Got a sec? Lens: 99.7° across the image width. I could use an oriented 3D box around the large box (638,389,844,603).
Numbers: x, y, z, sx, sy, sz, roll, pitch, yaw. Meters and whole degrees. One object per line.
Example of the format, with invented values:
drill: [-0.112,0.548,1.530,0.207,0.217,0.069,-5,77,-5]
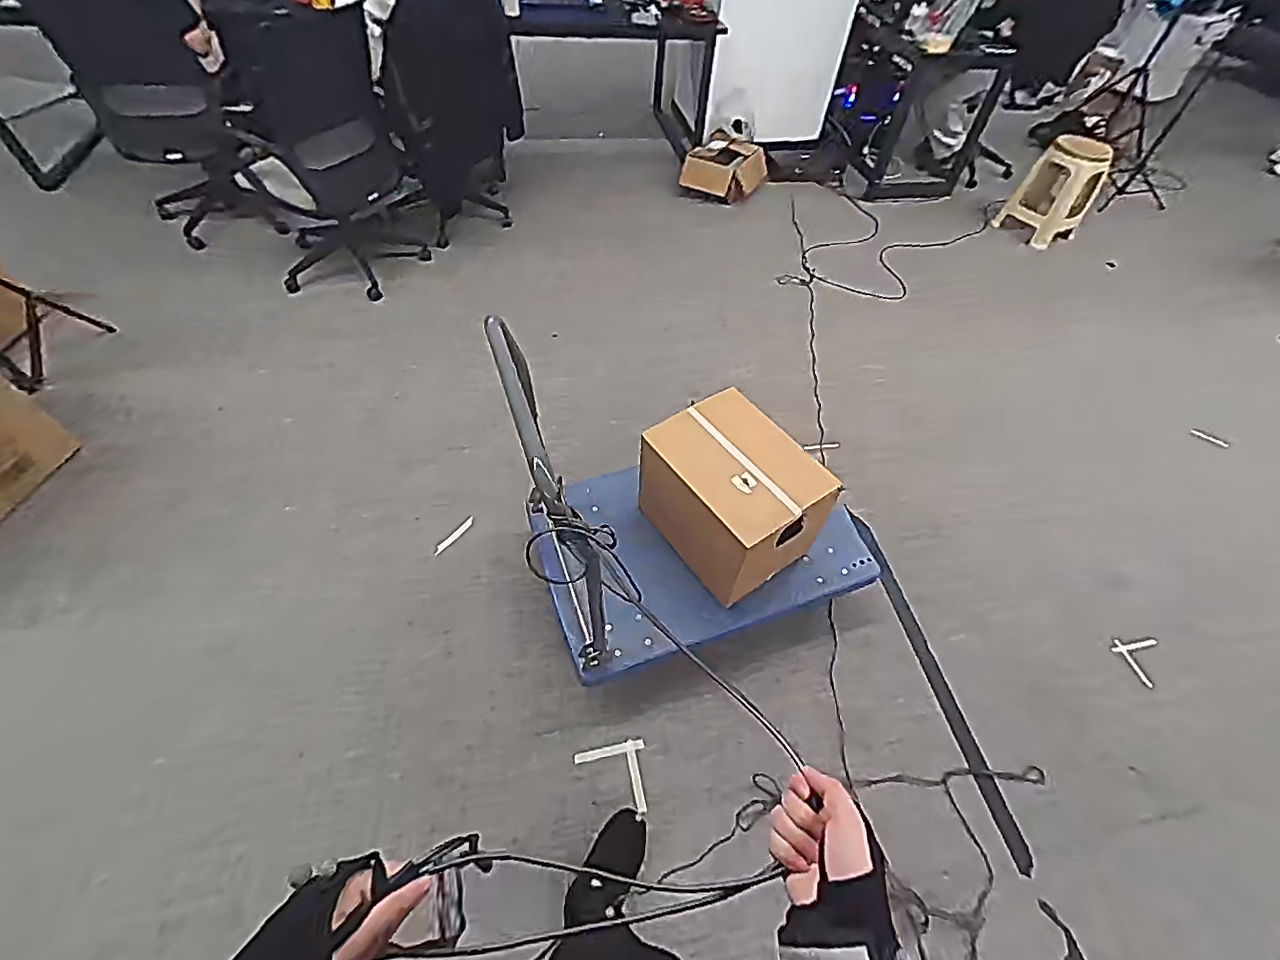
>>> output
large box: [0.236,0.038,1.422,0.320,0.320,0.408,-29,60,-21]
